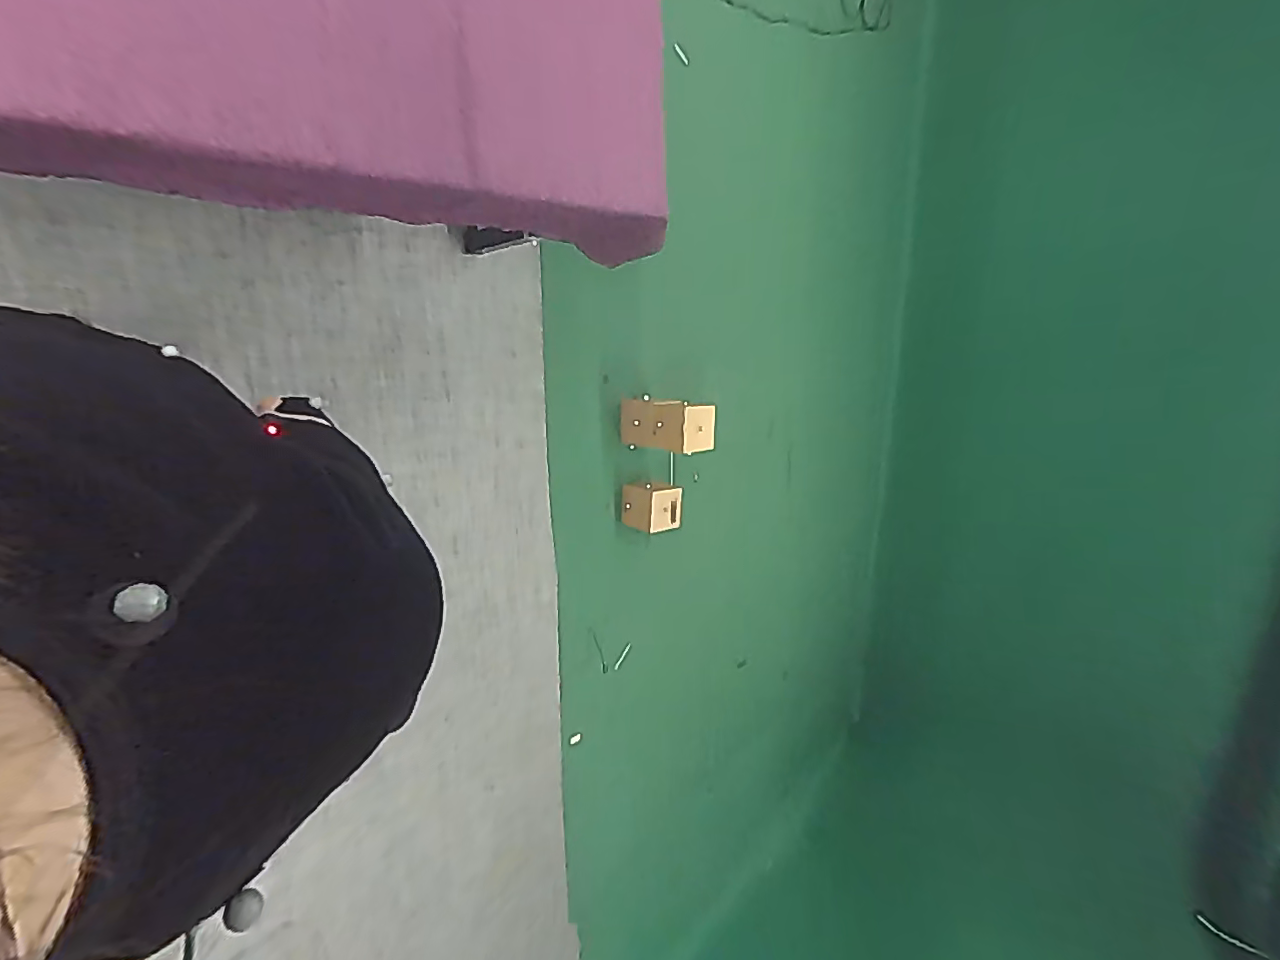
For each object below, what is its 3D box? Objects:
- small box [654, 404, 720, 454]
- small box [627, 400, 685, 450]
[{"bbox_3d":[0.173,-0.194,1.995,0.179,0.176,0.168,-11,106,-43],"label":"small box"},{"bbox_3d":[0.060,-0.220,2.110,0.168,0.176,0.179,-11,106,-44],"label":"small box"}]
